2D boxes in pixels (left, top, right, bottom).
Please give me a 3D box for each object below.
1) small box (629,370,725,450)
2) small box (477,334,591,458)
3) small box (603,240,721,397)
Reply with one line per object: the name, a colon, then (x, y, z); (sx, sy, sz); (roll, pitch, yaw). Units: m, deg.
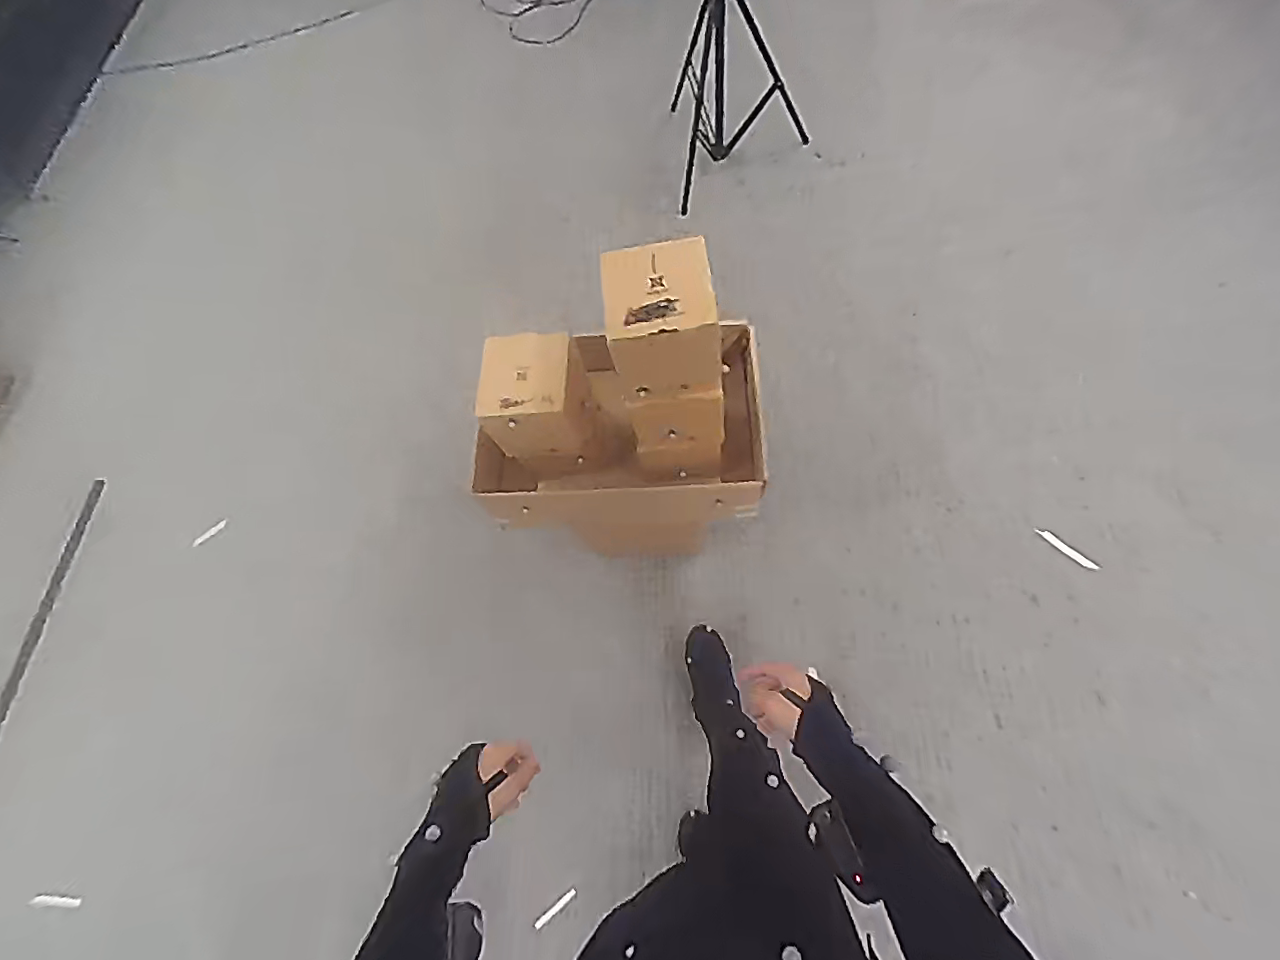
small box: (0.069, -0.175, 1.023); (0.168, 0.176, 0.179); (-5, 67, 7)
small box: (-0.196, -0.158, 1.055); (0.168, 0.176, 0.179); (-3, 65, 9)
small box: (0.040, -0.250, 0.879); (0.168, 0.176, 0.179); (-8, 66, 5)
